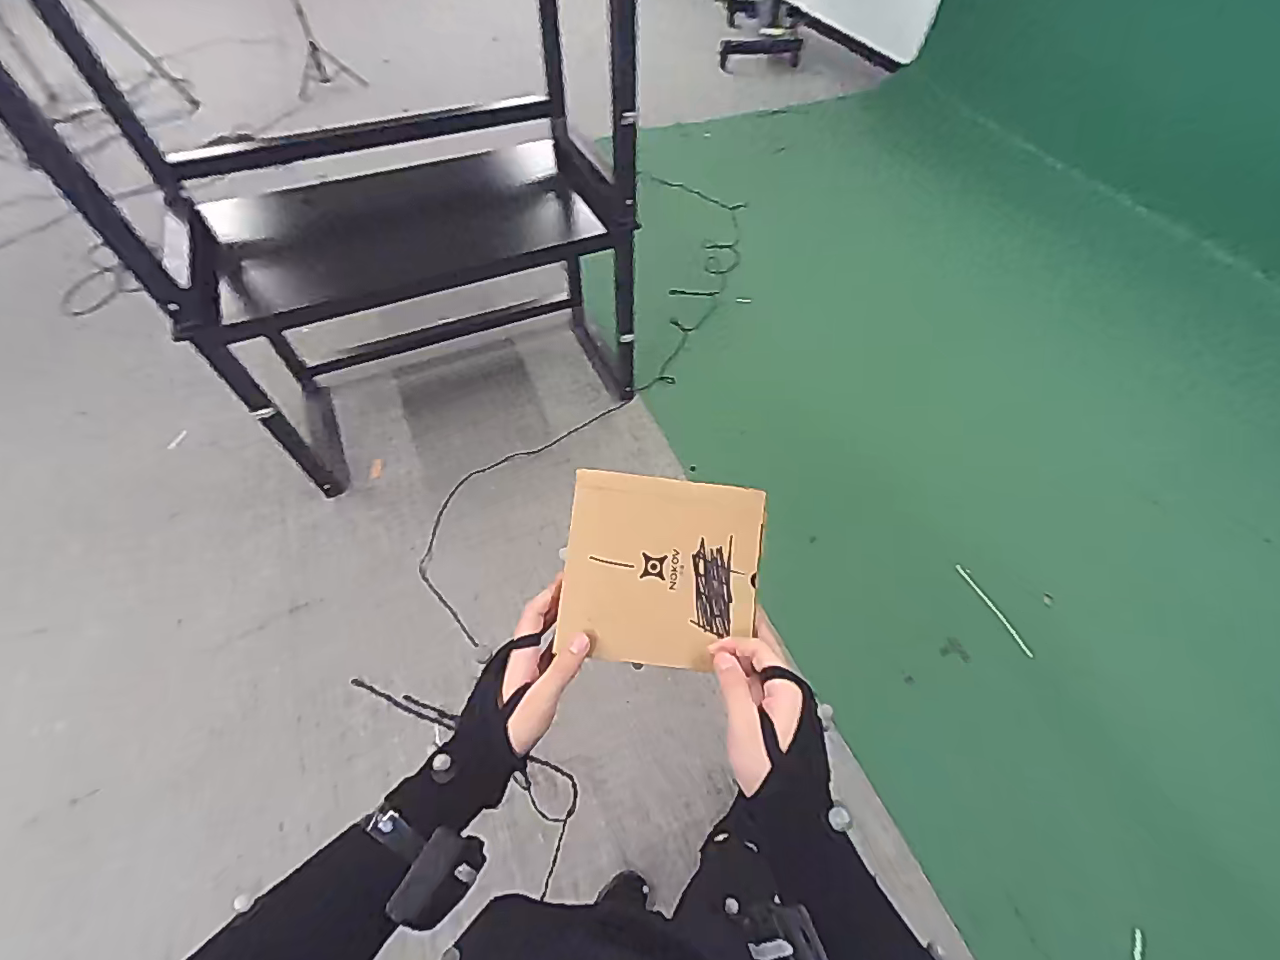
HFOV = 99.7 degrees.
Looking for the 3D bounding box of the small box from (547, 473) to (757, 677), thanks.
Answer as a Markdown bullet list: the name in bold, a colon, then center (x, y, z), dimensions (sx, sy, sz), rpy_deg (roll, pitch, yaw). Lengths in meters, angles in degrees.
- **small box**: center (0.010, 0.096, 0.561), dimensions (0.179, 0.176, 0.168), rpy_deg (6, 79, -1)
